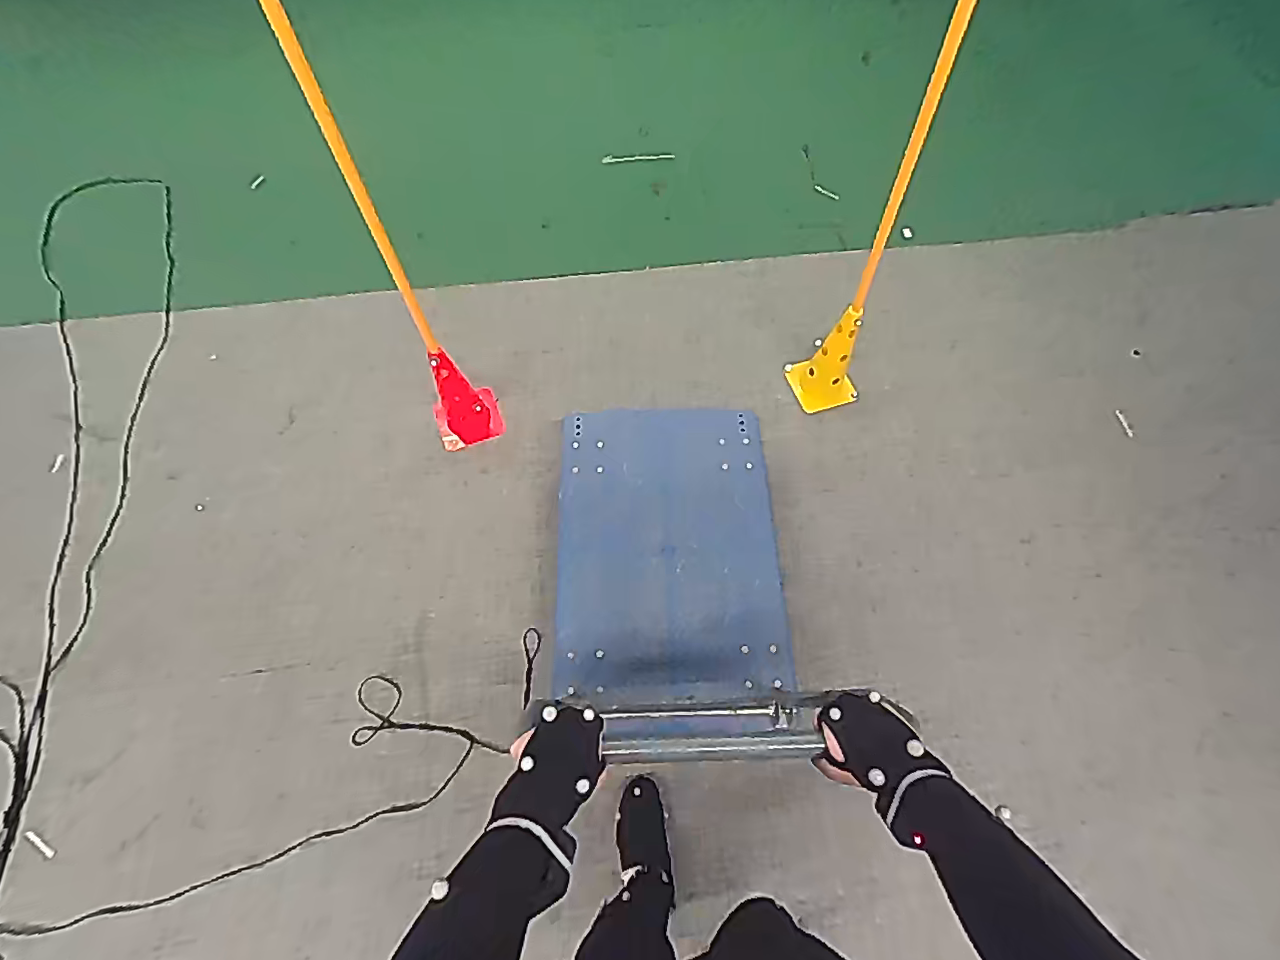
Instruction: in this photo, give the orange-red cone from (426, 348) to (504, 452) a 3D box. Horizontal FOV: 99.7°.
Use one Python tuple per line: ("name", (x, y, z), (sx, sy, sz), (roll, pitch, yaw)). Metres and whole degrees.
("orange-red cone", (-0.562, -0.269, 1.624), (0.199, 0.360, 0.198), (-20, 66, -8))
